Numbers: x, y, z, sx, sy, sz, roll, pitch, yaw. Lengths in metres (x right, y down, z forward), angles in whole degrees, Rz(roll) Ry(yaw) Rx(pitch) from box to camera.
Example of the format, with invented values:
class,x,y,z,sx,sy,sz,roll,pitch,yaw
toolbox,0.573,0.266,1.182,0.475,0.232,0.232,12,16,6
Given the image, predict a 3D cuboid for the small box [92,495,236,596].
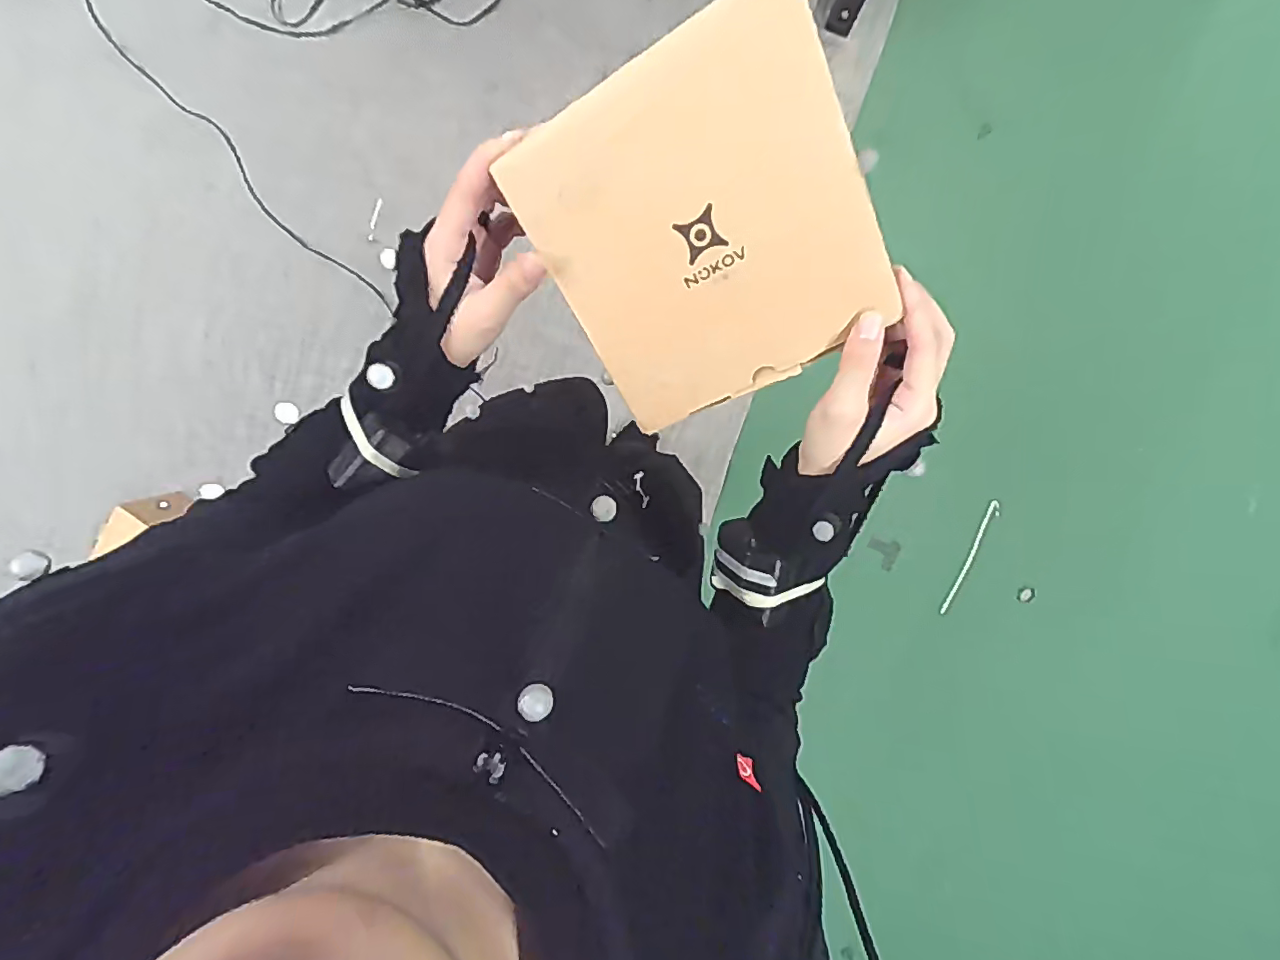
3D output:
class,x,y,z,sx,sy,sz,roll,pitch,yaw
small box,-1.177,0.152,1.349,0.179,0.176,0.168,35,100,-5
